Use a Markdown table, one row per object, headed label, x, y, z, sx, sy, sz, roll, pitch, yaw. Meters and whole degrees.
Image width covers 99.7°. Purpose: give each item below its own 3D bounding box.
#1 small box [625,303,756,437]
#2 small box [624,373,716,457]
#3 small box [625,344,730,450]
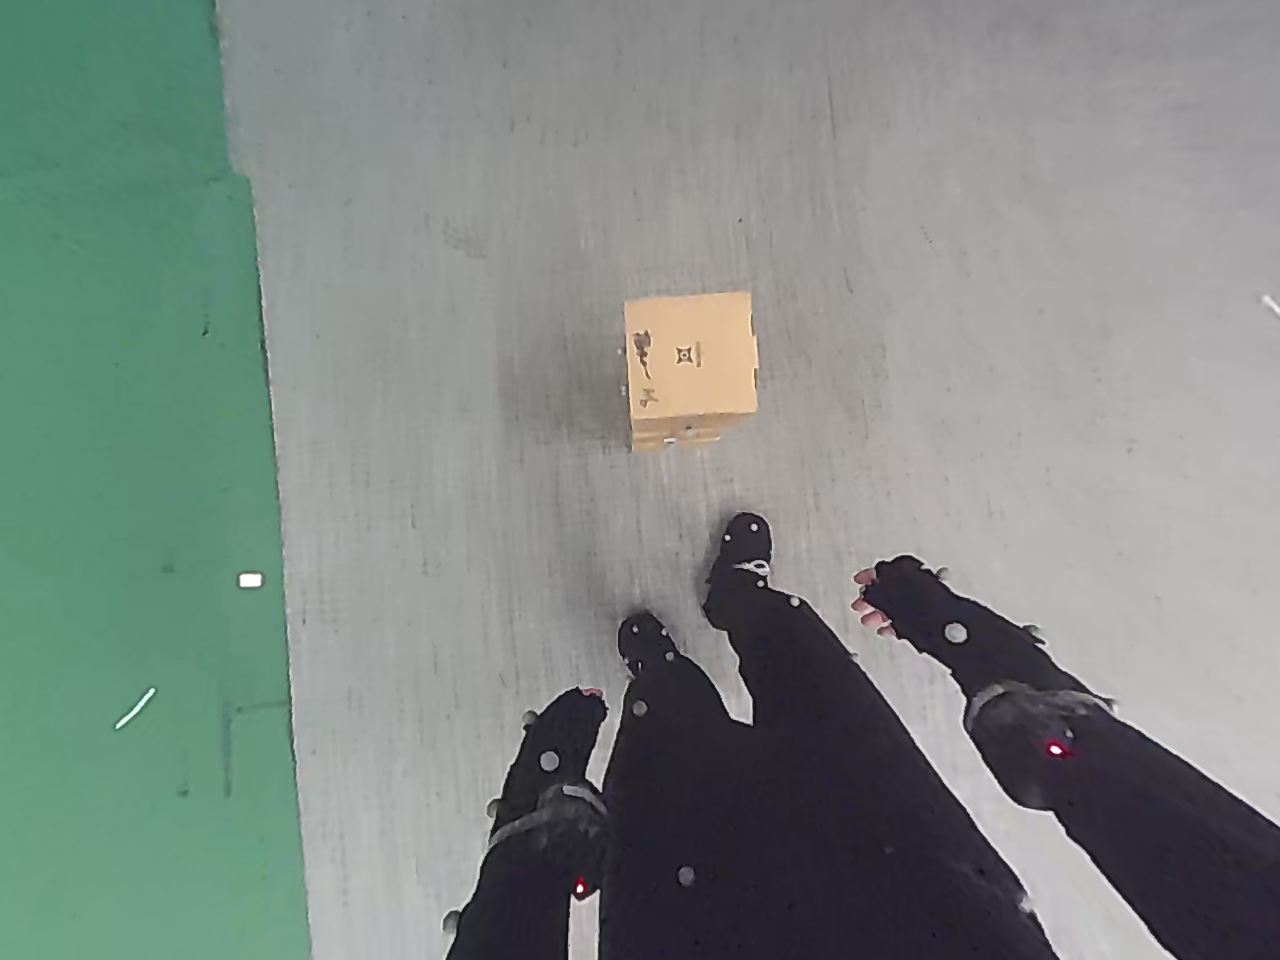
| label | x | y | z | sx | sy | sz | roll | pitch | yaw |
| --- | --- | --- | --- | --- | --- | --- | --- | --- | --- |
| small box | 0.069 | -0.157 | 0.817 | 0.179 | 0.176 | 0.168 | -3 | 88 | 1 |
| small box | 0.062 | -0.140 | 1.158 | 0.179 | 0.176 | 0.168 | -5 | 89 | -1 |
| small box | 0.062 | -0.152 | 0.980 | 0.168 | 0.176 | 0.179 | -6 | 90 | 1 |
